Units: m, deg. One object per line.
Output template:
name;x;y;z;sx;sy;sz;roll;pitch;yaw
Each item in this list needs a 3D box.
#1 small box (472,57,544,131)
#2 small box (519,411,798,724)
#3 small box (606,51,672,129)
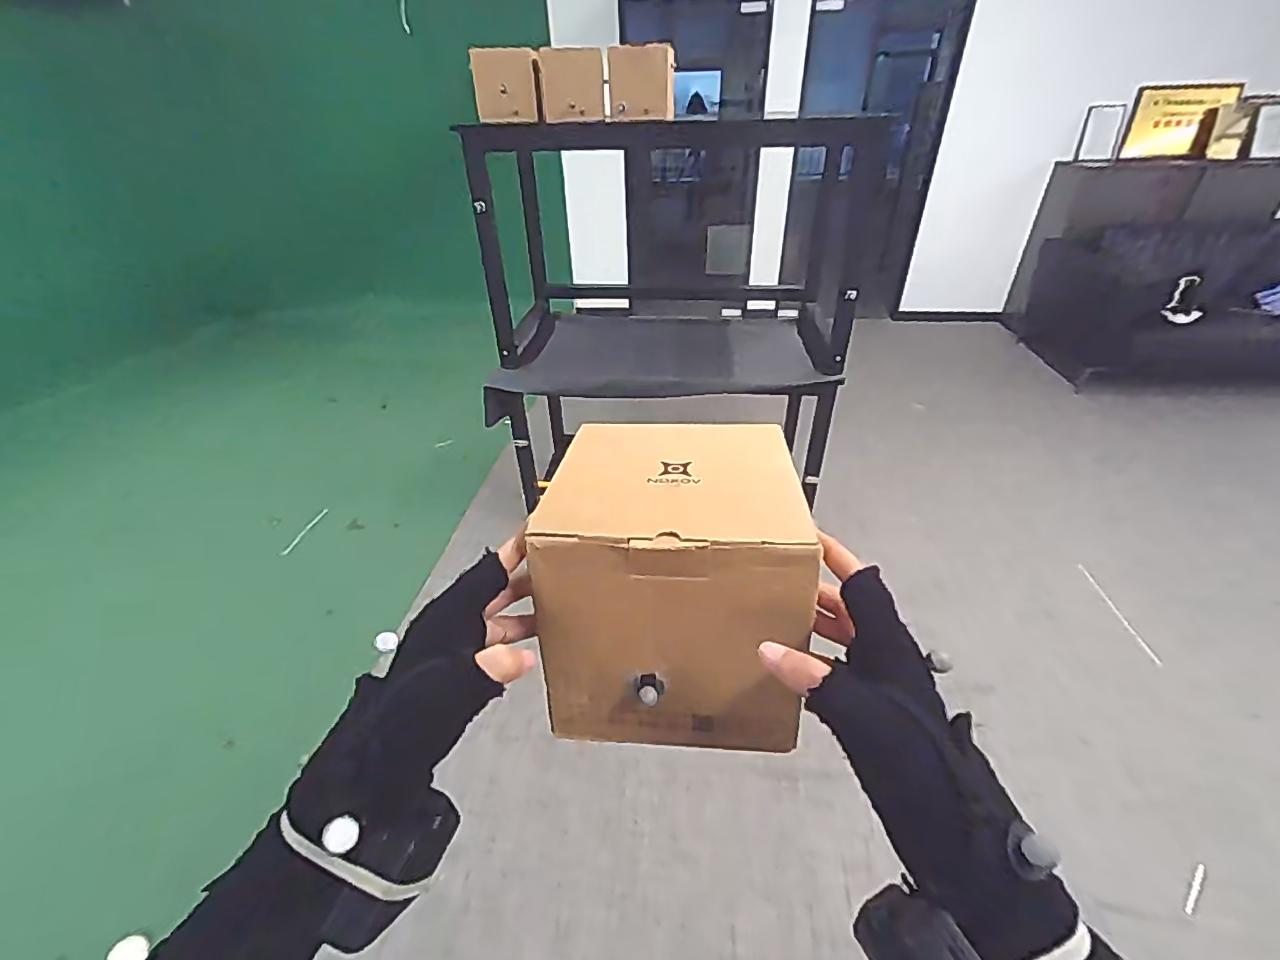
small box;-0.377;-1.124;1.580;0.168;0.176;0.179;-1;34;-1
small box;0.018;0.054;0.419;0.168;0.176;0.179;1;27;6
small box;0.004;-1.115;1.553;0.168;0.176;0.179;3;34;7
